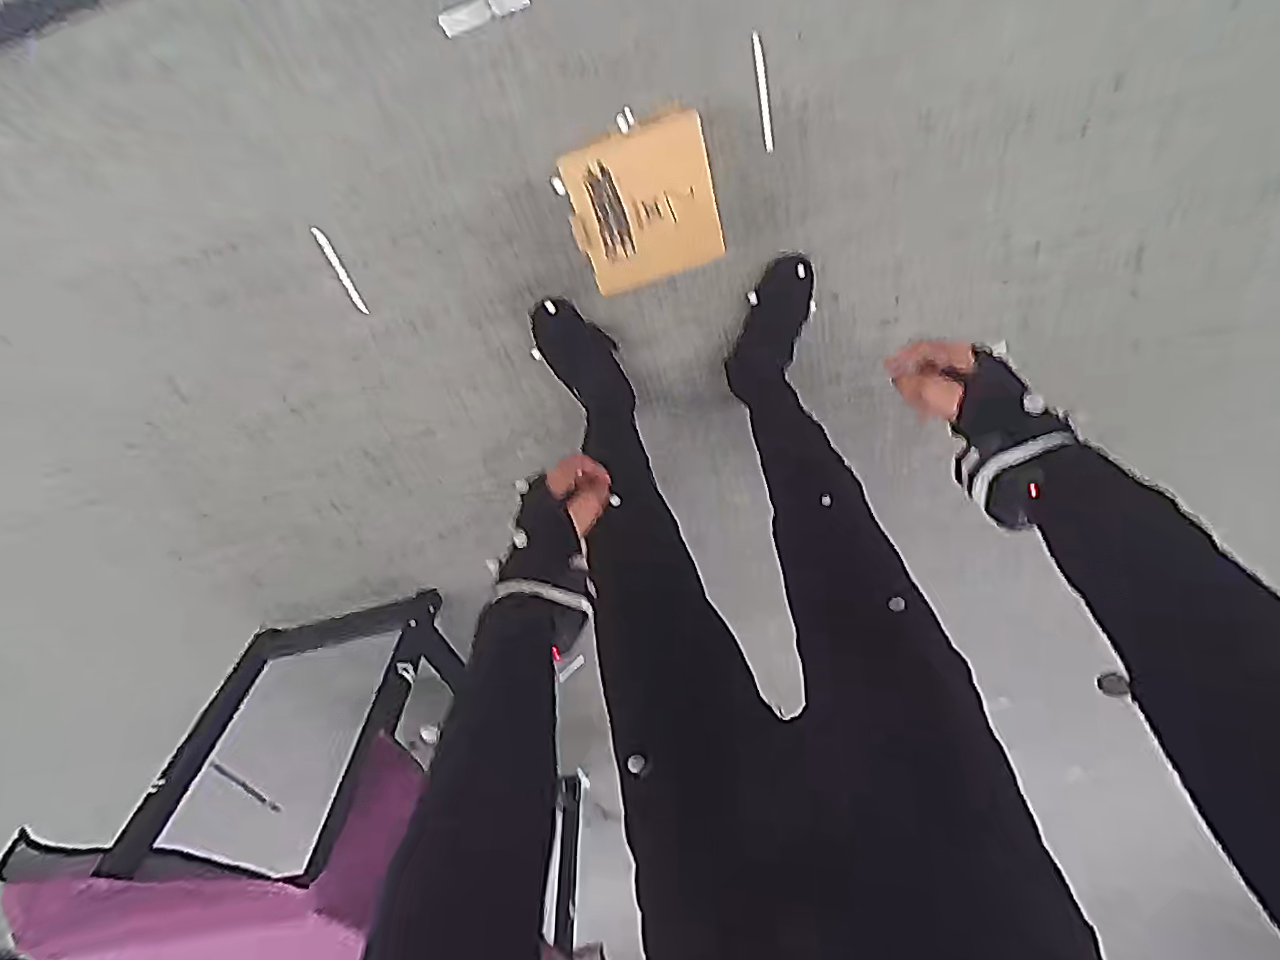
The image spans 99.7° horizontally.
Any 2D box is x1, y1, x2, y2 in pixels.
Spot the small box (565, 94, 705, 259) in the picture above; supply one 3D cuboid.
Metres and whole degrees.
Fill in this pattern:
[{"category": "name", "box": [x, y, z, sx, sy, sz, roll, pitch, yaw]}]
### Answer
[{"category": "small box", "box": [-0.004, -0.482, 0.855, 0.168, 0.176, 0.179, -17, 125, 10]}]
